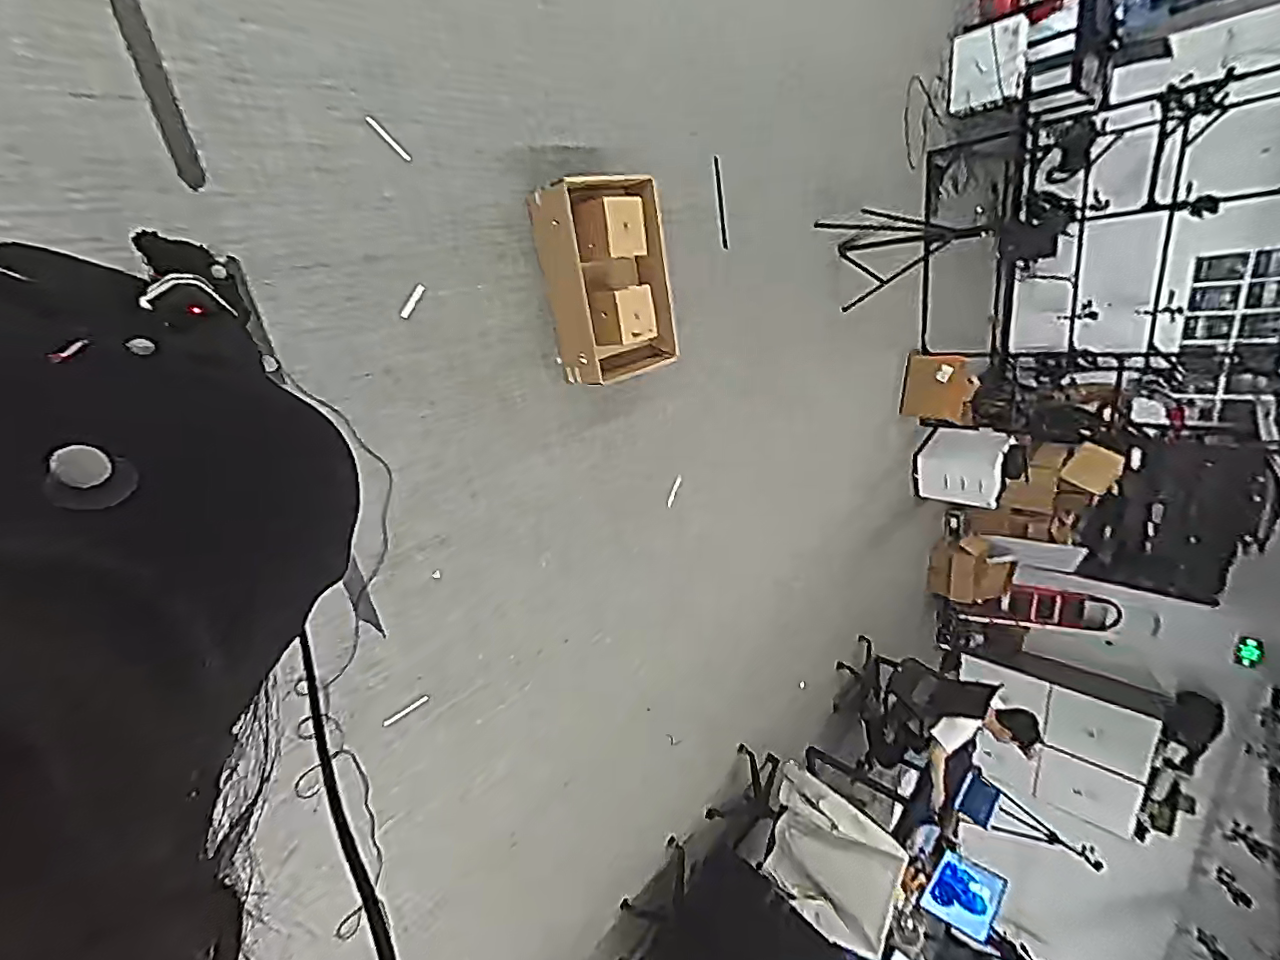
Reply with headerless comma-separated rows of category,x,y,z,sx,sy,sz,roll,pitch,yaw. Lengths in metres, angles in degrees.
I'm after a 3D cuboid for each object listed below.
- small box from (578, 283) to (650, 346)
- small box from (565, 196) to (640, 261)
small box,-0.091,-0.565,1.856,0.168,0.176,0.179,-27,115,-38
small box,-0.123,-0.814,1.765,0.168,0.176,0.179,-25,117,-40
